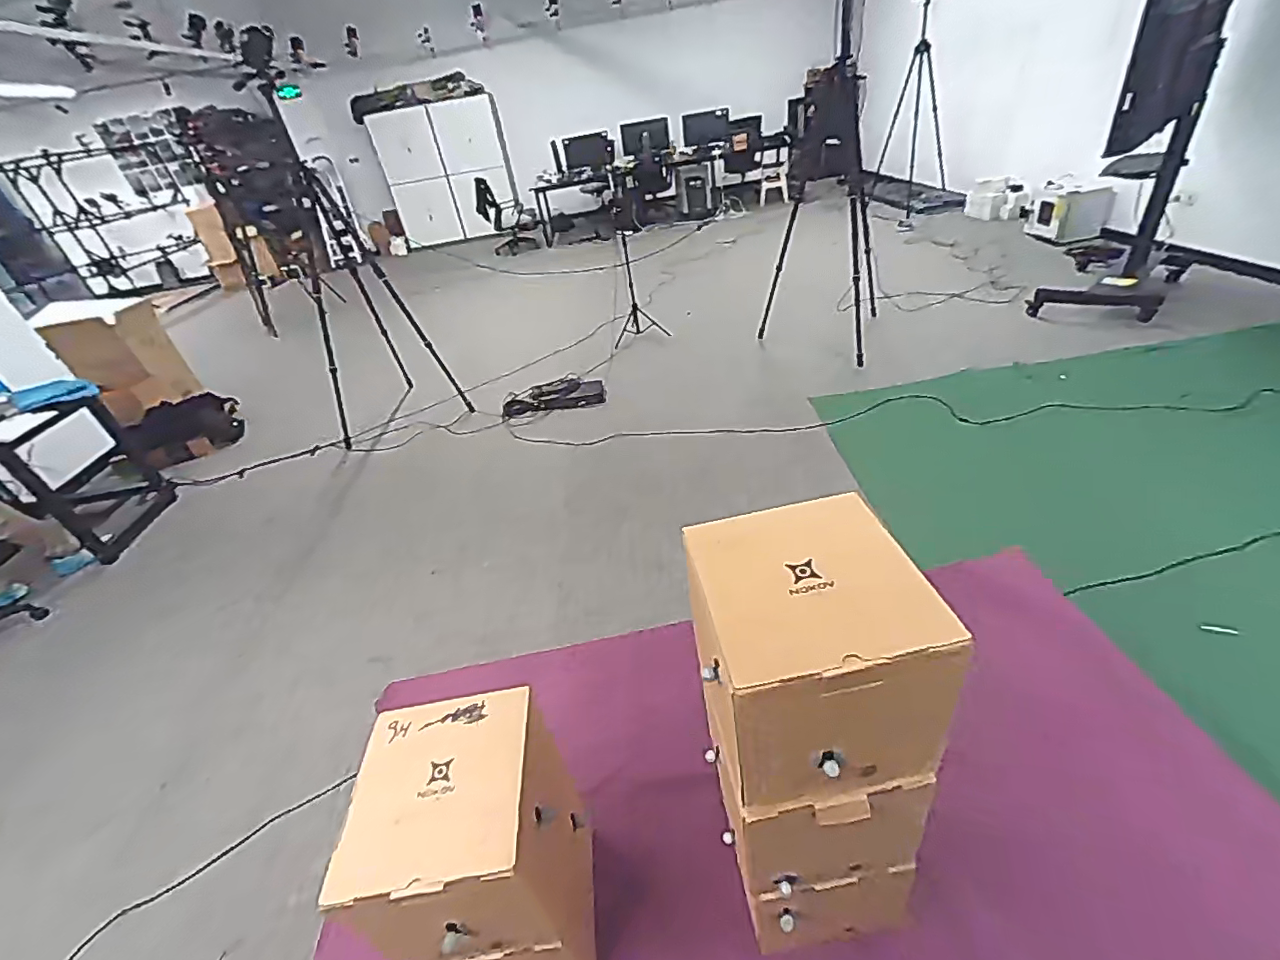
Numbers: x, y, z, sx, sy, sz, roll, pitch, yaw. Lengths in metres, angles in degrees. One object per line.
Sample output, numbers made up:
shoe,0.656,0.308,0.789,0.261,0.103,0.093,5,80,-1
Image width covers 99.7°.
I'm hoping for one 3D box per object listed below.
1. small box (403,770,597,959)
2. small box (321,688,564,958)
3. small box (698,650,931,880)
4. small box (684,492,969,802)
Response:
small box,-0.148,0.483,0.639,0.168,0.176,0.179,-11,35,0
small box,-0.175,0.348,0.548,0.168,0.176,0.179,-11,35,-1
small box,0.165,0.276,0.556,0.168,0.176,0.179,-12,33,-1
small box,0.140,0.139,0.472,0.168,0.176,0.179,-12,35,-2
